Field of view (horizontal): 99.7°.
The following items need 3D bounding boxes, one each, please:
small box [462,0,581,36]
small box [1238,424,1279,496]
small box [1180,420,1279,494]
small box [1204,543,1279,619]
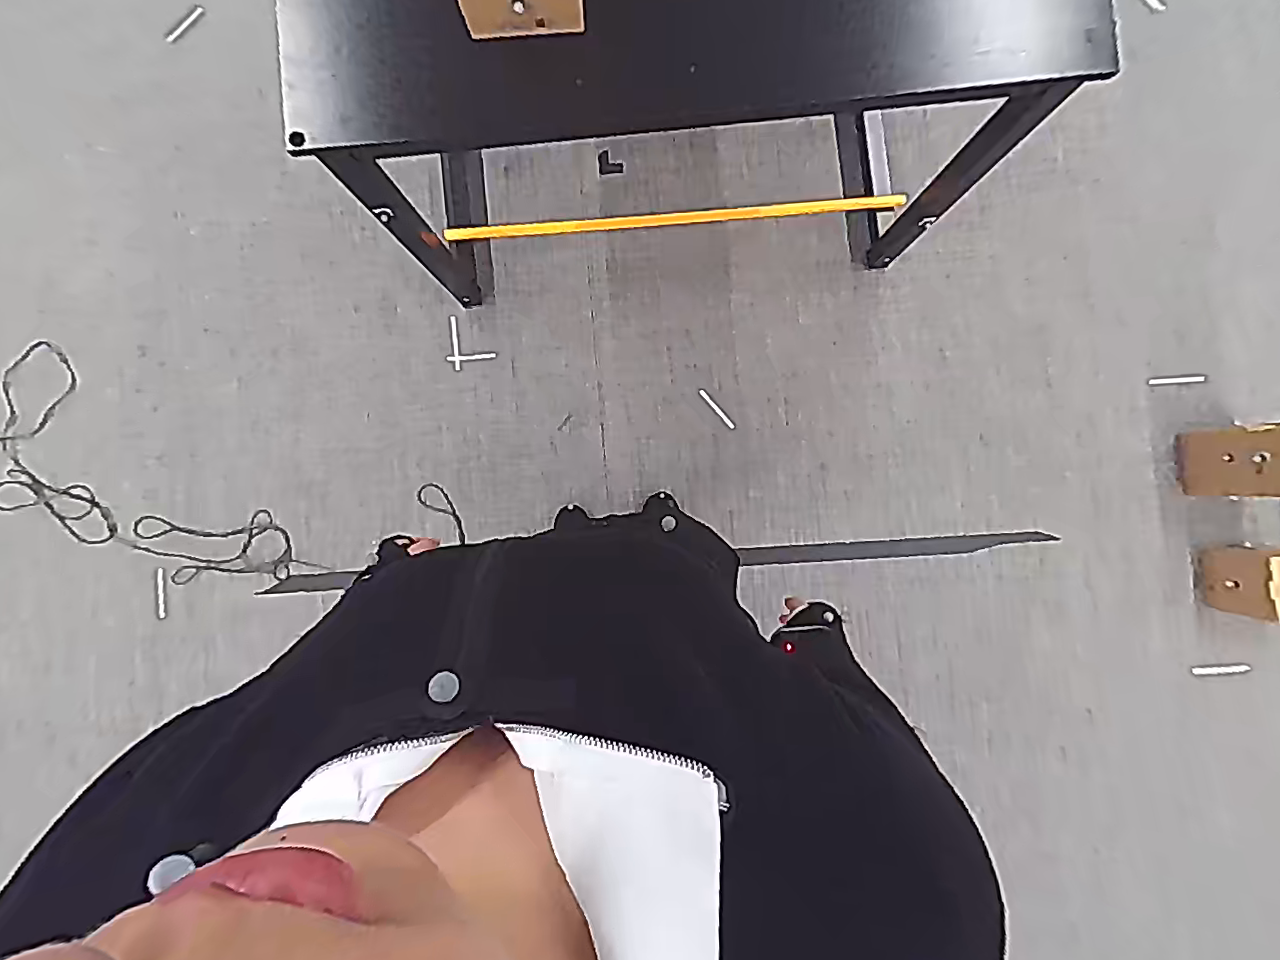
[{"bbox_3d":[-0.171,-0.737,0.708,0.168,0.176,0.179,-3,89,1],"label":"small box"},{"bbox_3d":[1.558,-0.056,1.240,0.179,0.176,0.168,-9,87,2],"label":"small box"},{"bbox_3d":[1.563,-0.057,1.403,0.168,0.176,0.179,-6,90,1],"label":"small box"},{"bbox_3d":[1.624,0.258,1.400,0.179,0.176,0.168,-5,89,2],"label":"small box"}]
